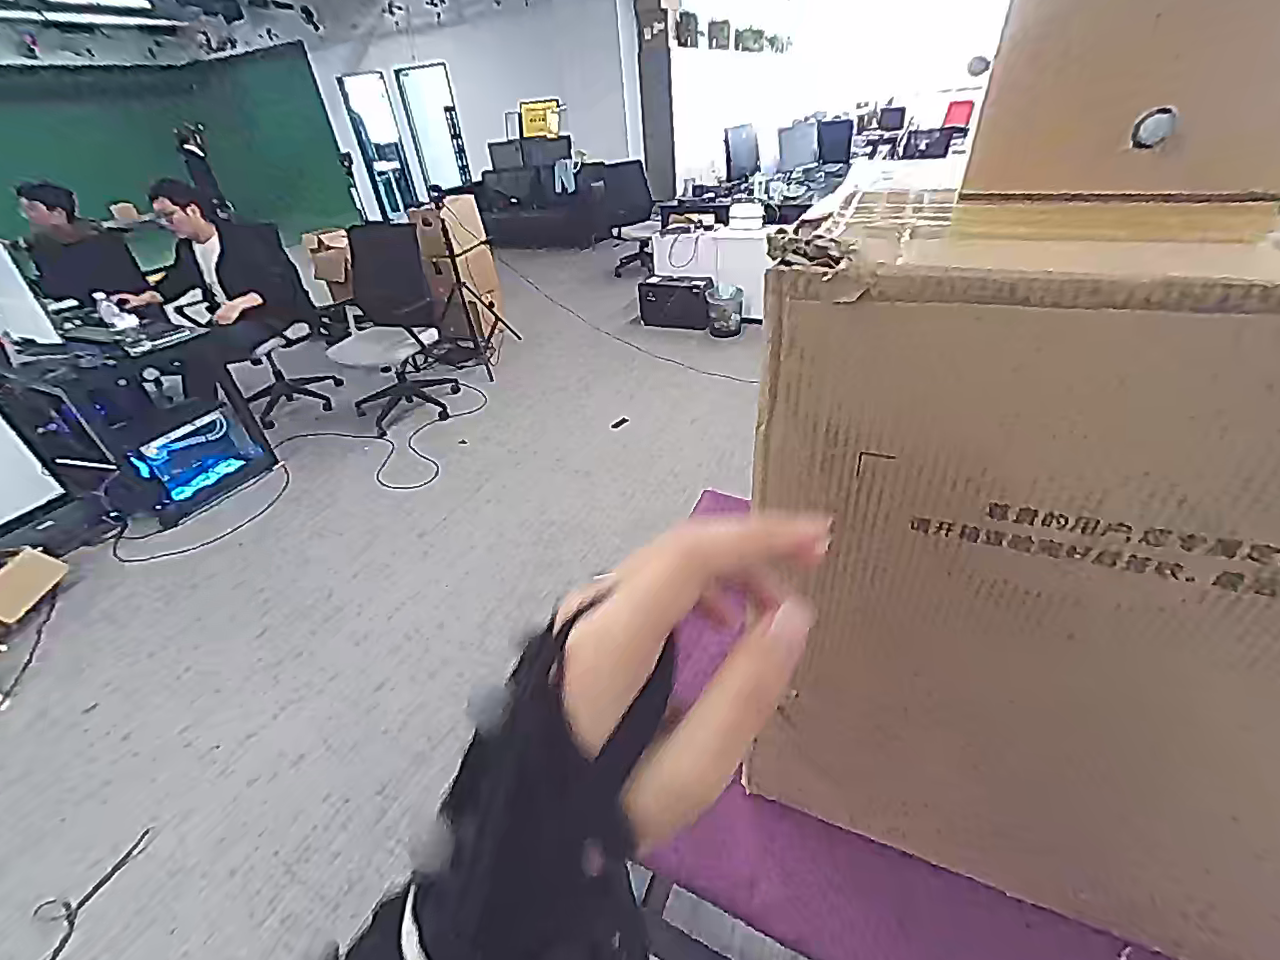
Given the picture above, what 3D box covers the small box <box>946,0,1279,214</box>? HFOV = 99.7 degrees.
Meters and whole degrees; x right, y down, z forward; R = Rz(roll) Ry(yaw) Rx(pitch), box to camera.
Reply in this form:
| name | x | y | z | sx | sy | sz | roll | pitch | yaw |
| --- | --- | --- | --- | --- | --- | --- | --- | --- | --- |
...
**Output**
| name | x | y | z | sx | sy | sz | roll | pitch | yaw |
| --- | --- | --- | --- | --- | --- | --- | --- | --- | --- |
| small box | 0.327 | -0.288 | 0.364 | 0.179 | 0.176 | 0.168 | 13 | 40 | 25 |
